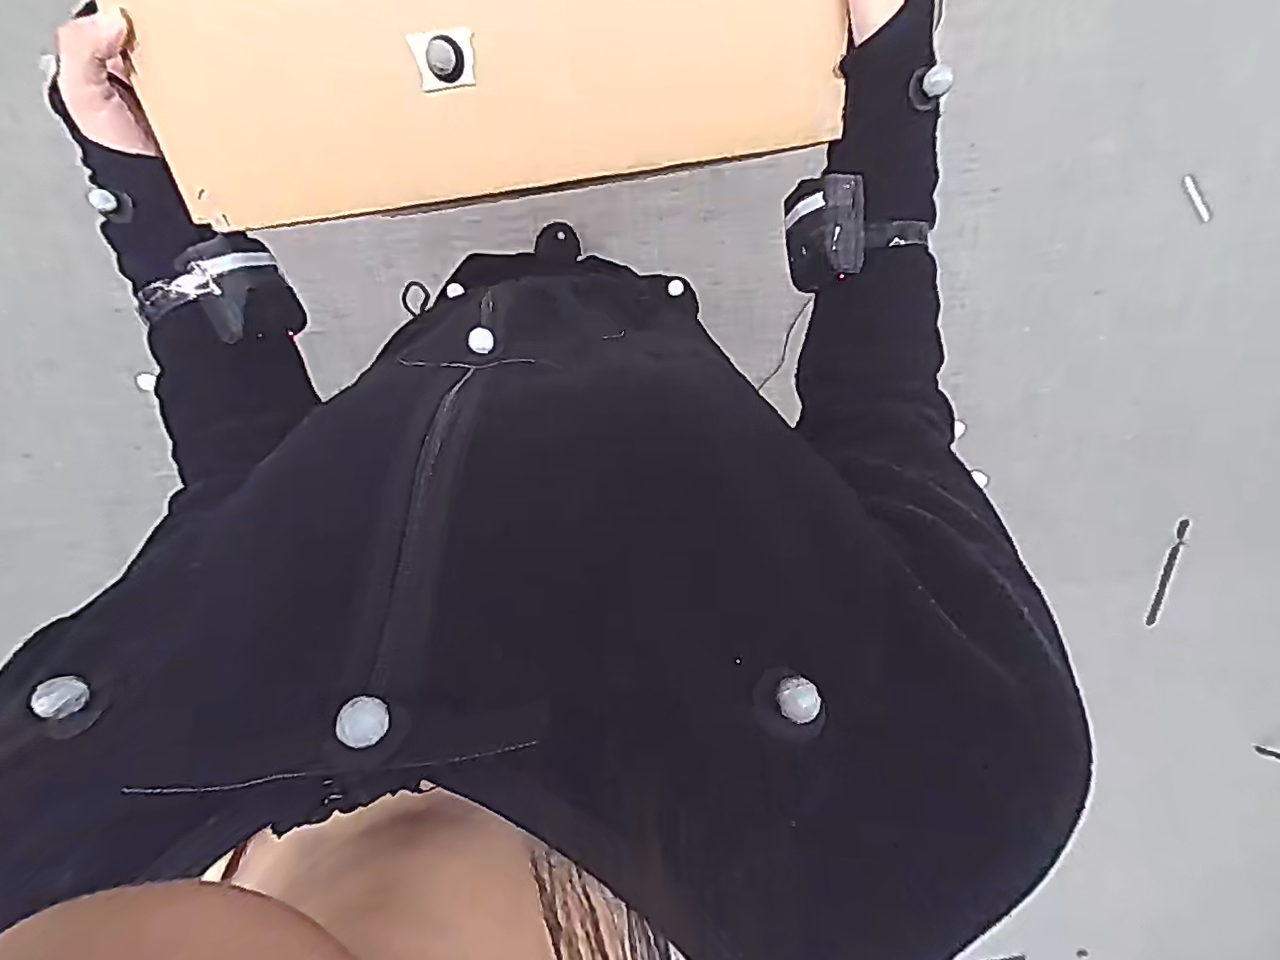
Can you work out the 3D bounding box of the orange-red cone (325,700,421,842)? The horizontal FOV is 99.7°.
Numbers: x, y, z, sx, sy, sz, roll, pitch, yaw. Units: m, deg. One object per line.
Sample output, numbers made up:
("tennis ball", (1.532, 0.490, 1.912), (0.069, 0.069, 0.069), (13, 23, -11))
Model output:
("orange-red cone", (-0.787, 0.834, 1.518), (0.199, 0.360, 0.198), (-14, 111, 1))
